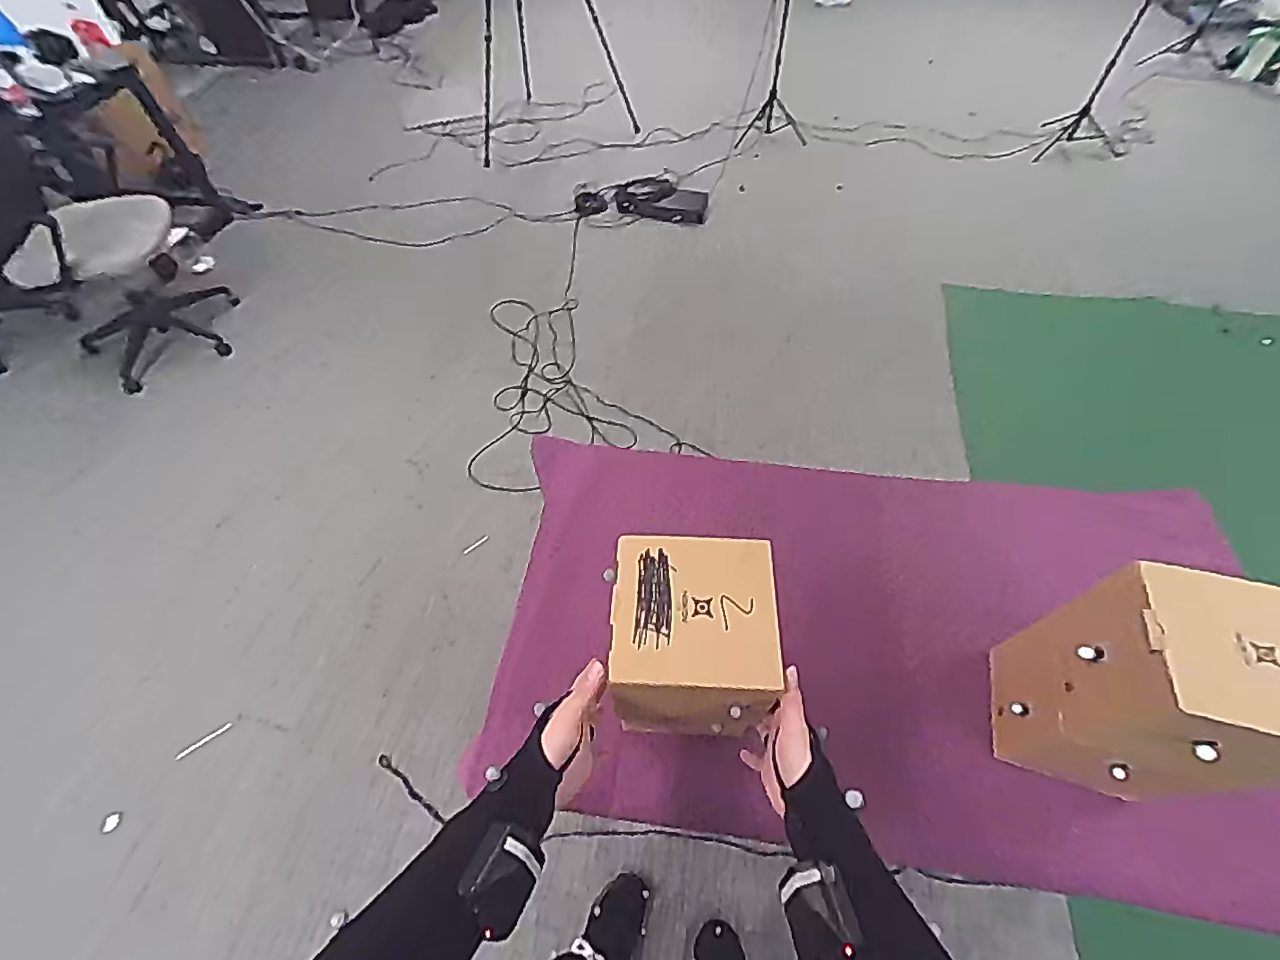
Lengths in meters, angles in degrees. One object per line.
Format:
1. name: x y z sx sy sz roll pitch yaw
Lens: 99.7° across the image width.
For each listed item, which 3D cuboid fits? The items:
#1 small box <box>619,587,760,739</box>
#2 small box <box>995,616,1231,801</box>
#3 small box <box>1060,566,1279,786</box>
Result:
1. small box: 0.067 0.267 0.776 0.179 0.176 0.168 2 55 3
2. small box: 0.608 0.313 0.730 0.179 0.176 0.168 15 57 12
3. small box: 0.604 0.220 0.596 0.179 0.176 0.168 12 57 11
